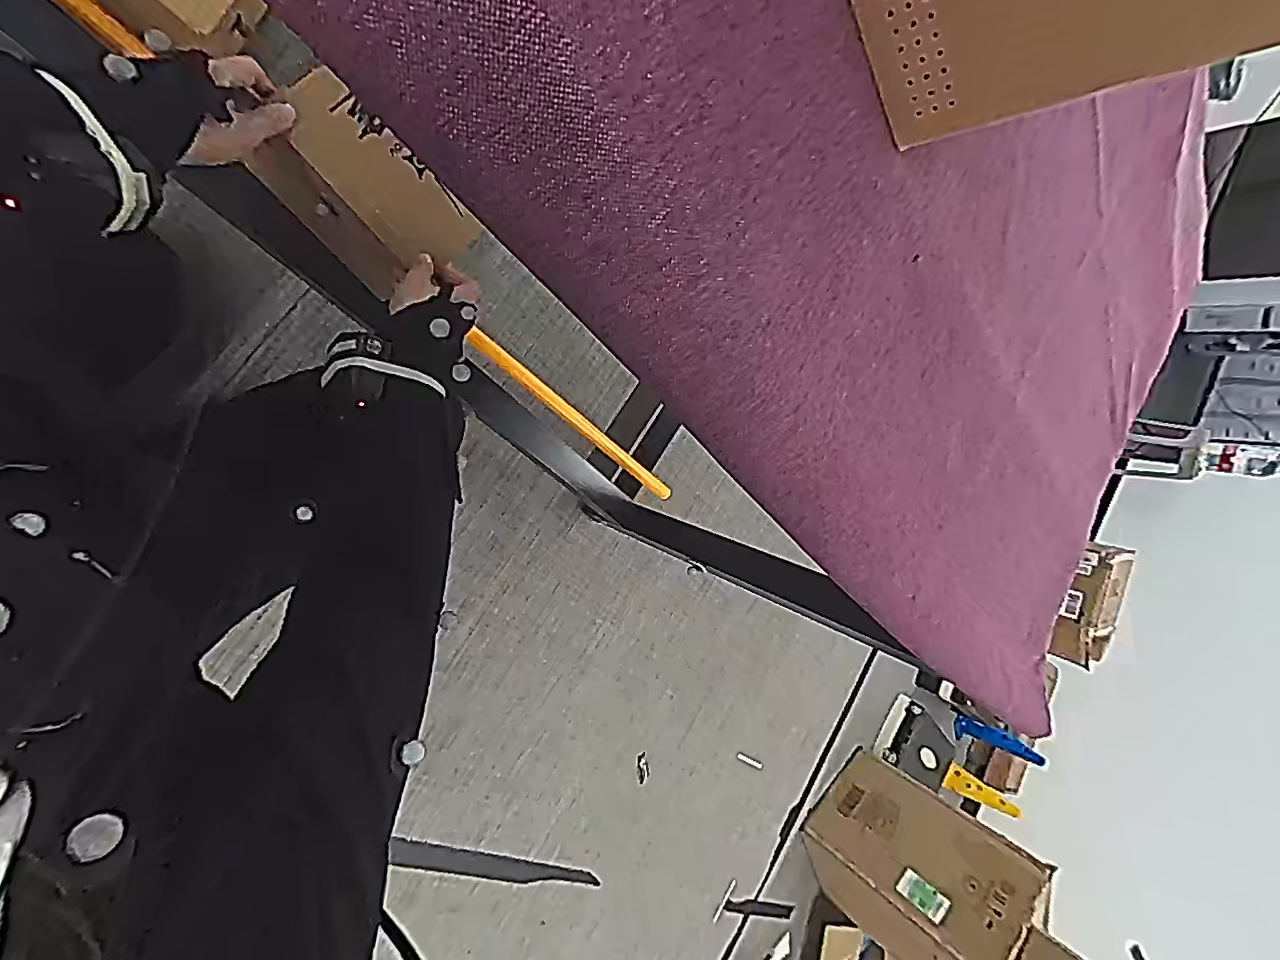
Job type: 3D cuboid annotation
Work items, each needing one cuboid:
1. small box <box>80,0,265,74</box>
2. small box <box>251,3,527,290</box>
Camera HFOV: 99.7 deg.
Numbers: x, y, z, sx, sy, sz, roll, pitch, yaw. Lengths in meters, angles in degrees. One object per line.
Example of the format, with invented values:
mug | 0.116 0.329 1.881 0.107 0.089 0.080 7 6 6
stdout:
small box | -0.470 -0.534 0.513 0.179 0.176 0.168 33 80 -39
small box | -0.260 -0.319 0.558 0.168 0.176 0.179 -54 128 -17
